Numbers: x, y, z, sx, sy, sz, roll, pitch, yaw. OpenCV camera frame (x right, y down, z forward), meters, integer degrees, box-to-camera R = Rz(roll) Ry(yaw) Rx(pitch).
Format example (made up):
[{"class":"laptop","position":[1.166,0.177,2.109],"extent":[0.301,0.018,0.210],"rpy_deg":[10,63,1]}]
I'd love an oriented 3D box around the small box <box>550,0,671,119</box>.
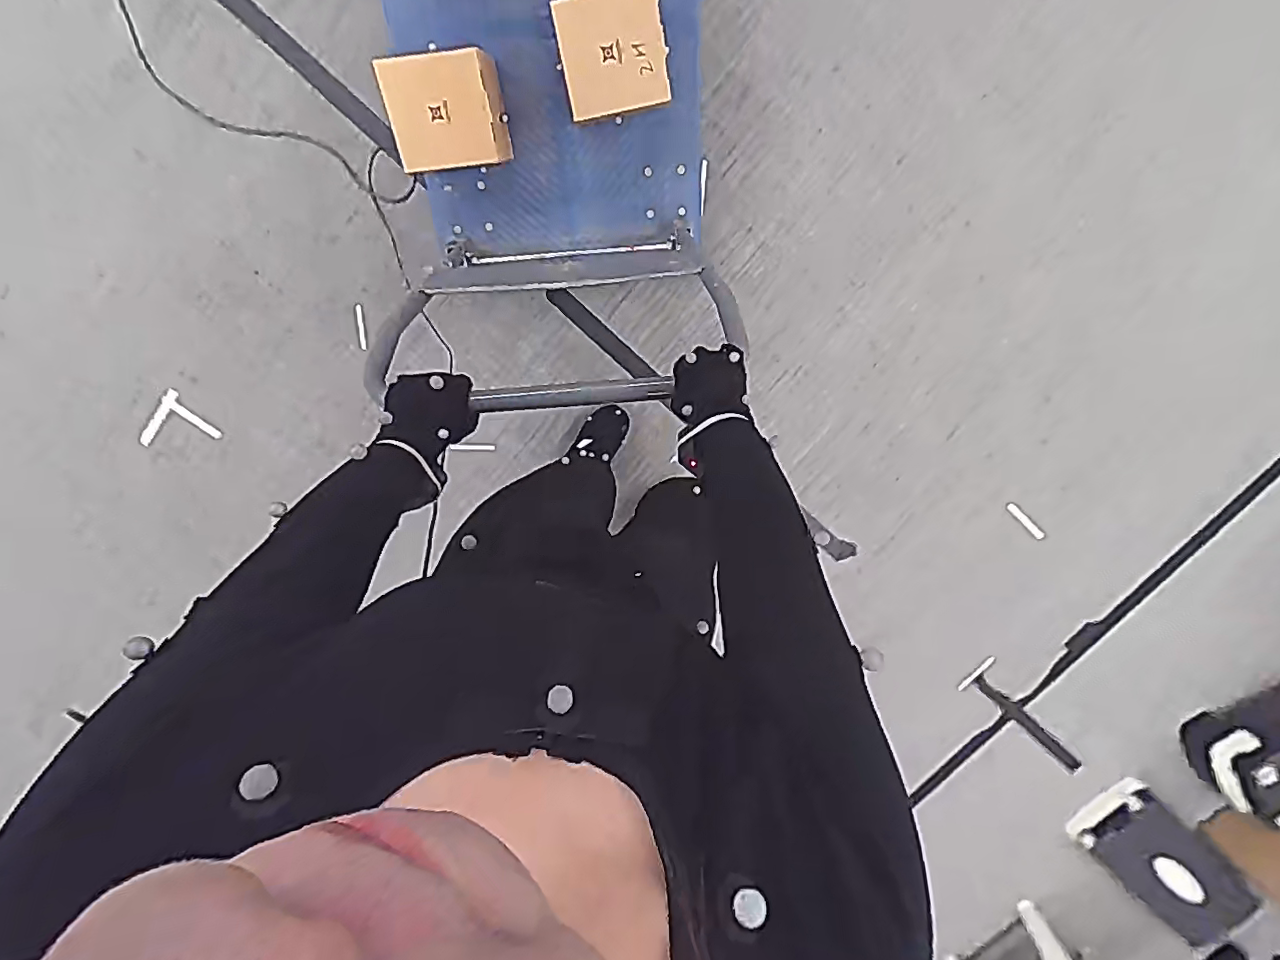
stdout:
[{"class":"small box","position":[-0.047,-0.755,0.959],"extent":[0.179,0.176,0.168],"rpy_deg":[-10,122,4]}]

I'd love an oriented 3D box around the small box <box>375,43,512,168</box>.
[{"class":"small box","position":[-0.347,-0.677,0.994],"extent":[0.179,0.176,0.168],"rpy_deg":[-8,122,0]}]
